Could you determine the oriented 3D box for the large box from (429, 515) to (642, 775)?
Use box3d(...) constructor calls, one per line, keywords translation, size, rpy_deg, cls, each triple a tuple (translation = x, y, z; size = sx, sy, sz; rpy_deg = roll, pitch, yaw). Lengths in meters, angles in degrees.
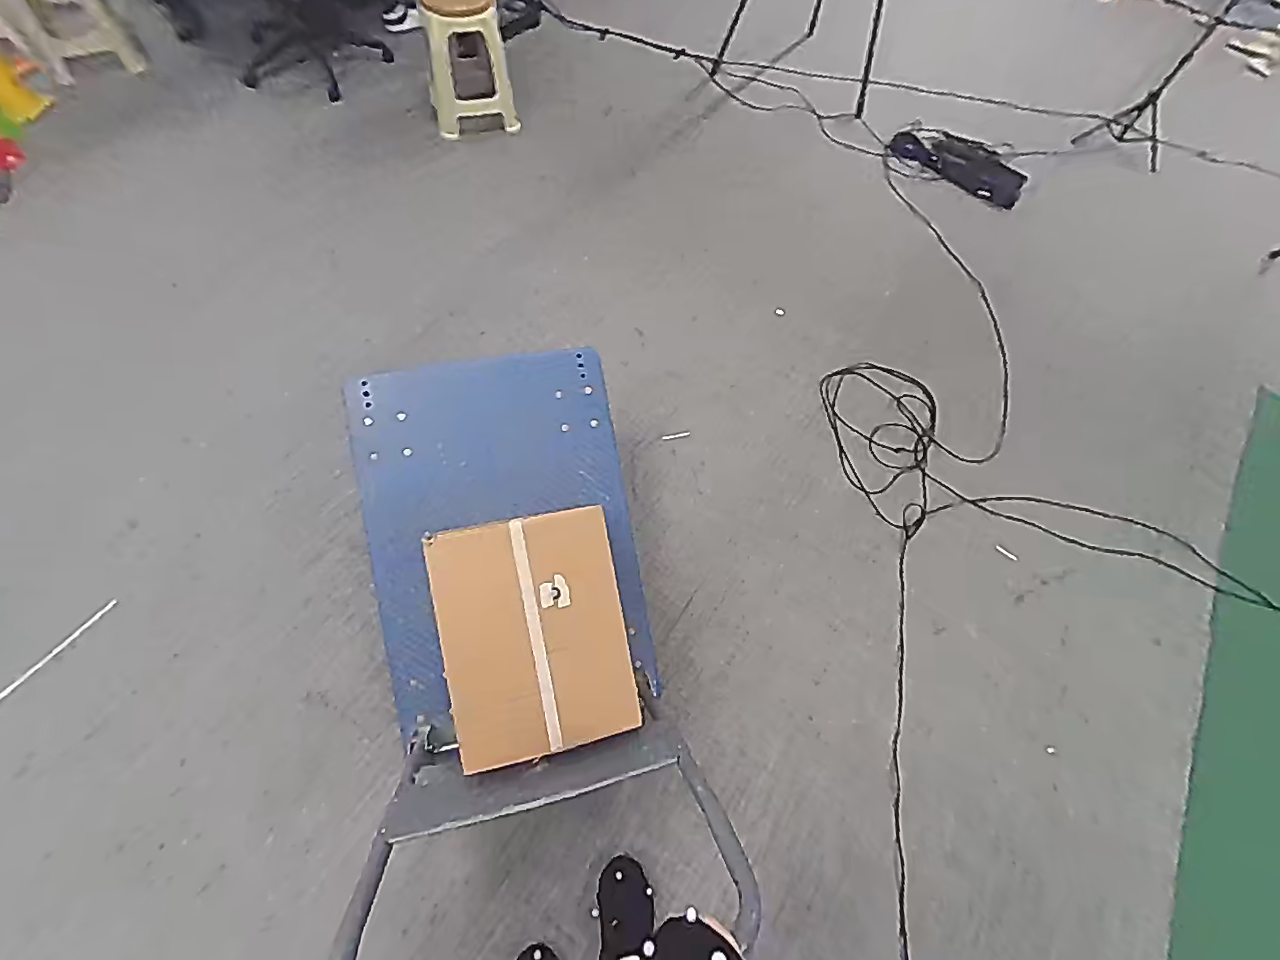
box3d(translation=(-0.206, 0.298, 1.105), size=(0.320, 0.320, 0.408), rpy_deg=(-10, 88, -12), cls="large box")
